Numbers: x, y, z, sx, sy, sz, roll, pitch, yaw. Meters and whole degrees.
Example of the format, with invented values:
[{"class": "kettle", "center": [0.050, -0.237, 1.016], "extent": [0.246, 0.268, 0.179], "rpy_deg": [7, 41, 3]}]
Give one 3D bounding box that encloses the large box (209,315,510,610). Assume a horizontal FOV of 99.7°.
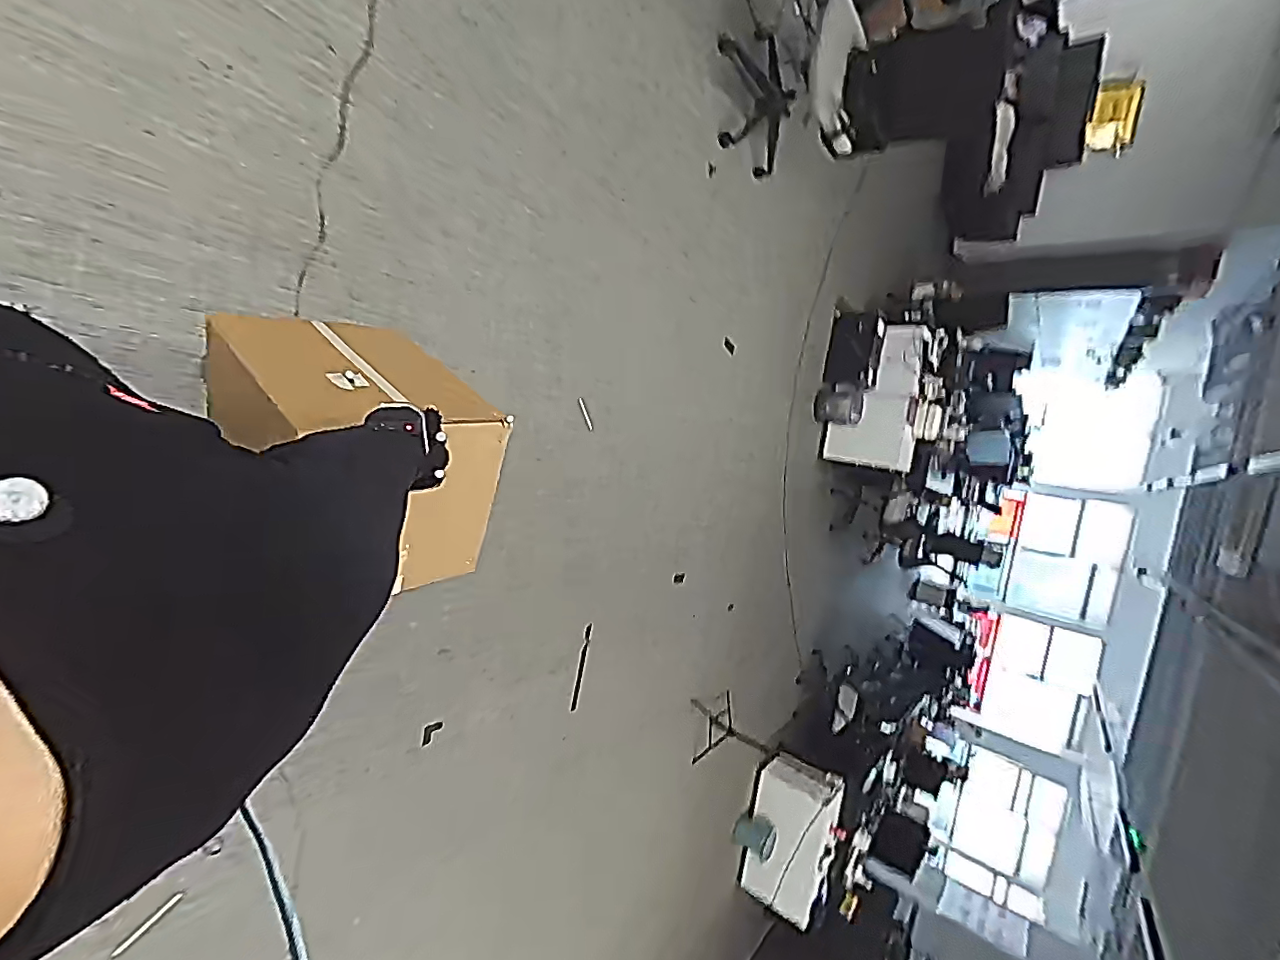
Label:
[{"class": "large box", "center": [-0.499, -0.051, 0.938], "extent": [0.320, 0.408, 0.320], "rpy_deg": [-11, 130, -49]}]
